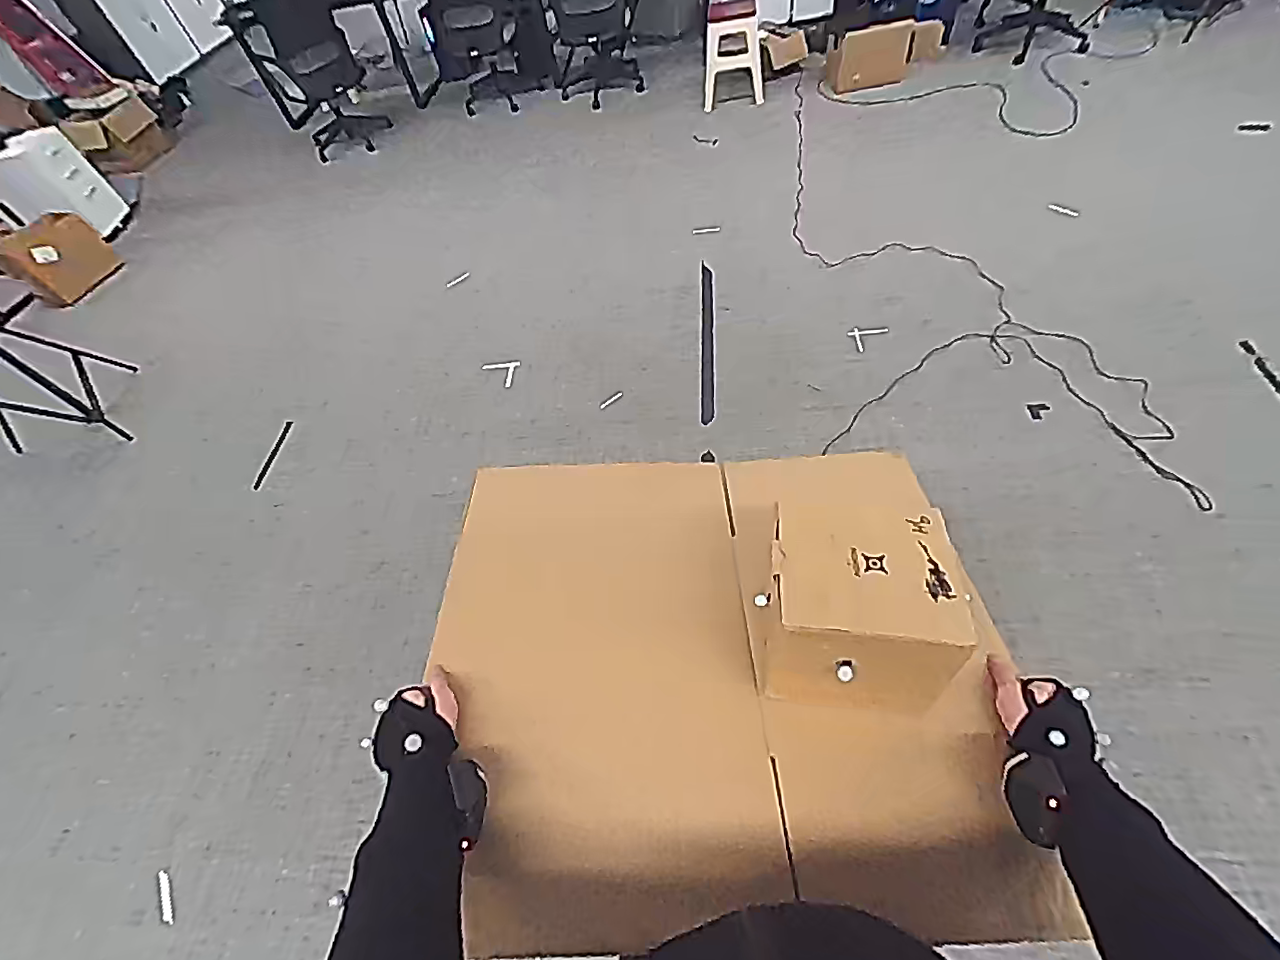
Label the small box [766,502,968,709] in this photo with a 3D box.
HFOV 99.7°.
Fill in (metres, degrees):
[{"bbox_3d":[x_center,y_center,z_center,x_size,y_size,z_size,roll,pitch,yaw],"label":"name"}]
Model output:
[{"bbox_3d":[0.236,0.143,0.617,0.179,0.176,0.168,2,47,10],"label":"small box"}]
